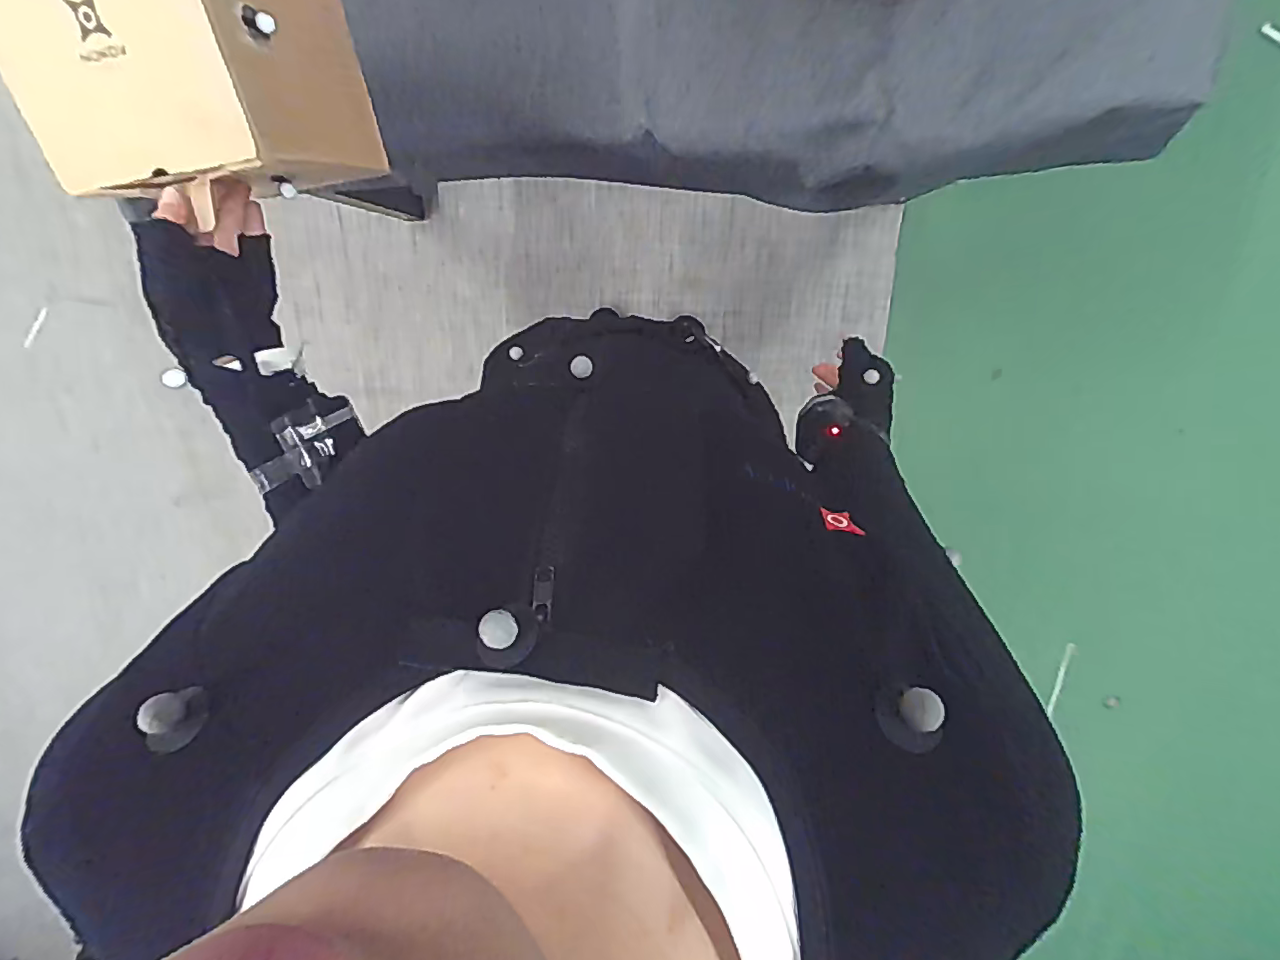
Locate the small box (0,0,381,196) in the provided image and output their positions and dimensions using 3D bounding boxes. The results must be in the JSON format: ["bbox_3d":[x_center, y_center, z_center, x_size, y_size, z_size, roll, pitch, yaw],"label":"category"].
[{"bbox_3d":[-0.331,-0.322,0.406,0.168,0.176,0.179,-4,116,9],"label":"small box"}]
